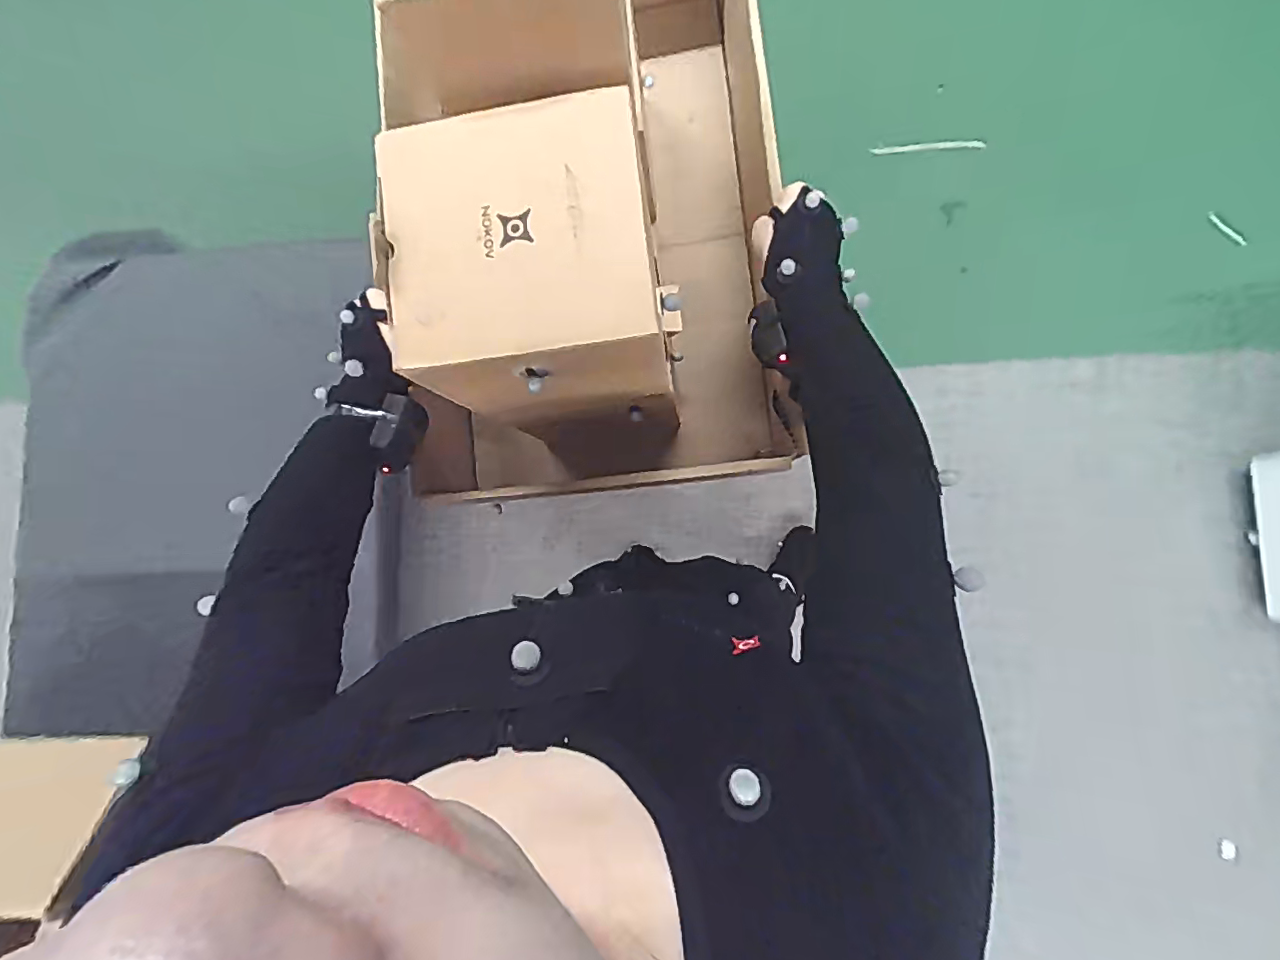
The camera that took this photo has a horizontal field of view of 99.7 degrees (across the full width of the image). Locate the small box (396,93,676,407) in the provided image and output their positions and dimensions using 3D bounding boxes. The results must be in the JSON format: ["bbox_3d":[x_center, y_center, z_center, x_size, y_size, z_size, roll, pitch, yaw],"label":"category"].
[{"bbox_3d":[-0.066,-0.160,0.436,0.179,0.176,0.168,-6,87,4],"label":"small box"}]
